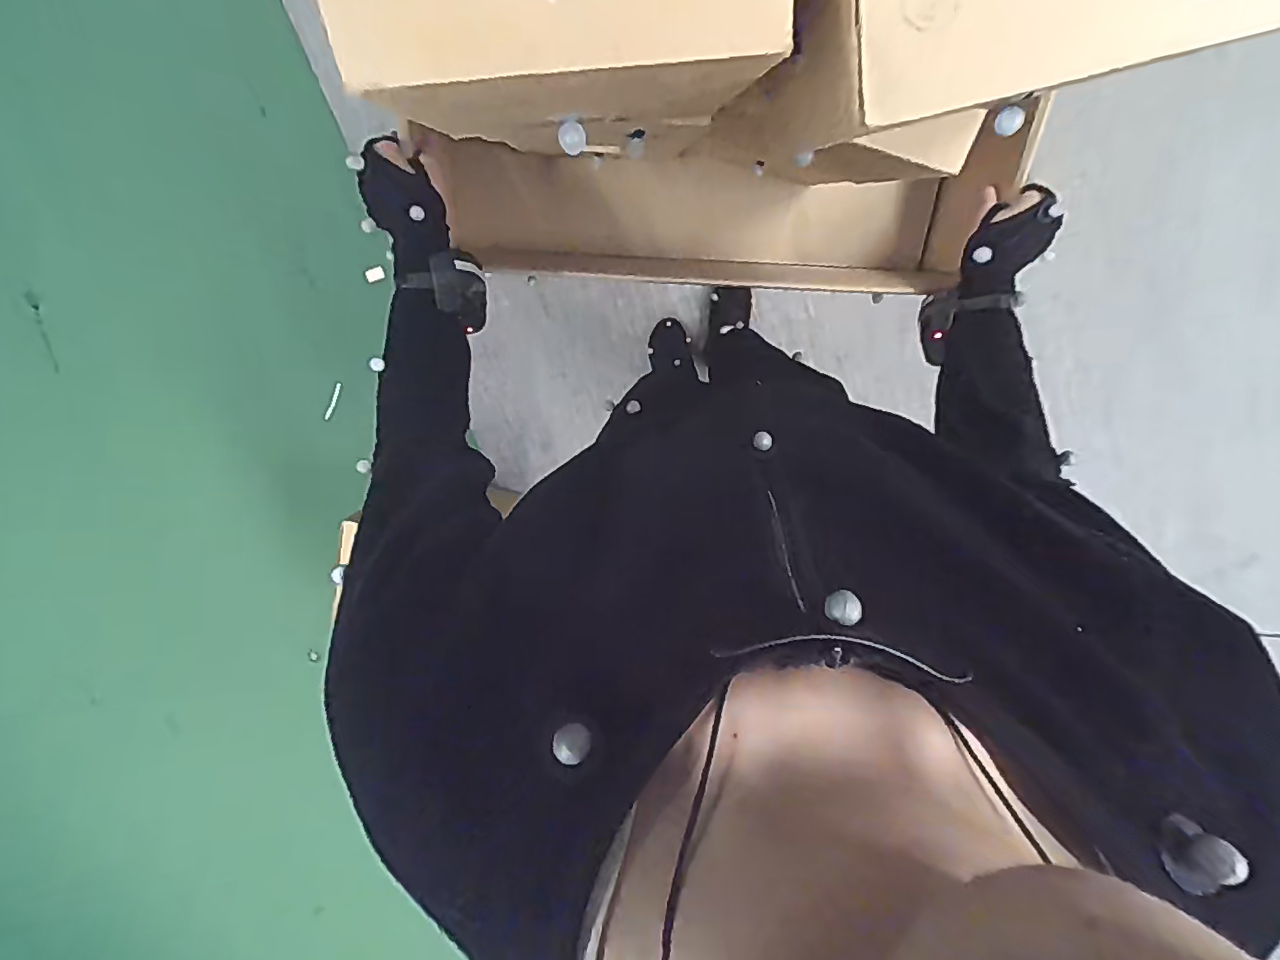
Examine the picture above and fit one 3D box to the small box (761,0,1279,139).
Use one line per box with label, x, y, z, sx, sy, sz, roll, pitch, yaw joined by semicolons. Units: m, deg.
small box;0.149;-0.269;0.239;0.179;0.176;0.168;-10;116;5
